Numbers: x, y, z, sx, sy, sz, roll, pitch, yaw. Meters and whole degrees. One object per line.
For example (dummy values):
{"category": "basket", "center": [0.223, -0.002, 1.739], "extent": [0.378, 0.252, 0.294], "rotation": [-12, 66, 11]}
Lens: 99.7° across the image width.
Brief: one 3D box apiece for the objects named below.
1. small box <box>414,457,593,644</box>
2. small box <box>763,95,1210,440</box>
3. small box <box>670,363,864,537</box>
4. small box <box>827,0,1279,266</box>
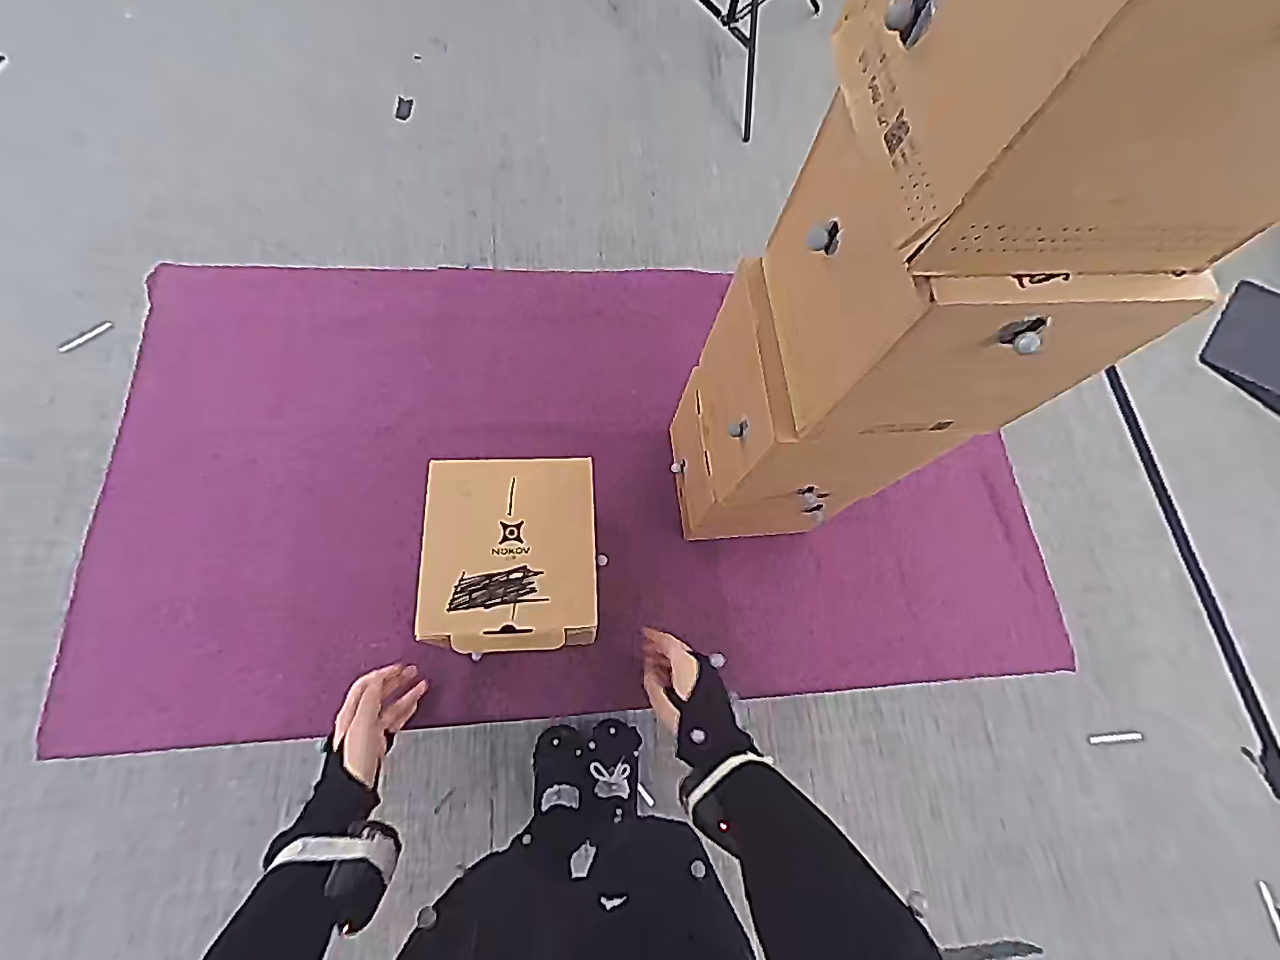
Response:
{"category": "small box", "center": [-0.135, 0.087, 0.600], "extent": [0.168, 0.176, 0.179], "rotation": [-1, 69, -7]}
{"category": "small box", "center": [0.197, -0.143, 0.371], "extent": [0.168, 0.176, 0.179], "rotation": [-4, 70, -8]}
{"category": "small box", "center": [0.143, -0.031, 0.675], "extent": [0.179, 0.176, 0.168], "rotation": [-4, 70, -7]}
{"category": "small box", "center": [0.207, -0.209, 0.222], "extent": [0.179, 0.176, 0.168], "rotation": [-4, 71, -8]}
